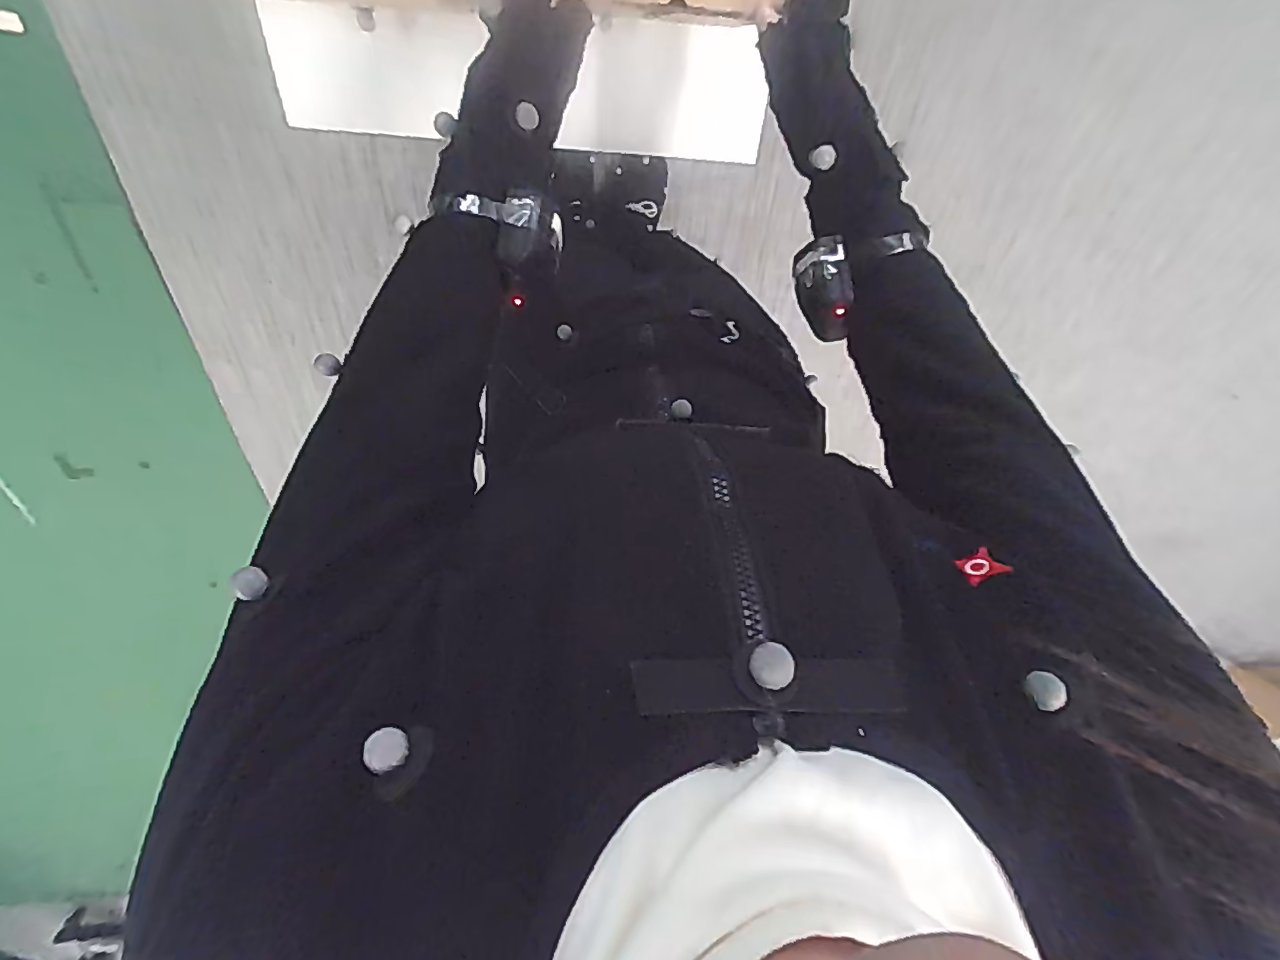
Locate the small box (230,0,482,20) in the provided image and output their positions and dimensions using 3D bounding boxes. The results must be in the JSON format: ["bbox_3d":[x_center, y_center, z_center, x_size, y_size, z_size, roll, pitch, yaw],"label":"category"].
[{"bbox_3d":[-0.226,-0.468,0.409,0.168,0.176,0.179,-1,130,-3],"label":"small box"}]

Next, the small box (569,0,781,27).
[{"bbox_3d":[0.029,-0.474,0.423,0.168,0.176,0.179,0,128,-5],"label":"small box"}]
